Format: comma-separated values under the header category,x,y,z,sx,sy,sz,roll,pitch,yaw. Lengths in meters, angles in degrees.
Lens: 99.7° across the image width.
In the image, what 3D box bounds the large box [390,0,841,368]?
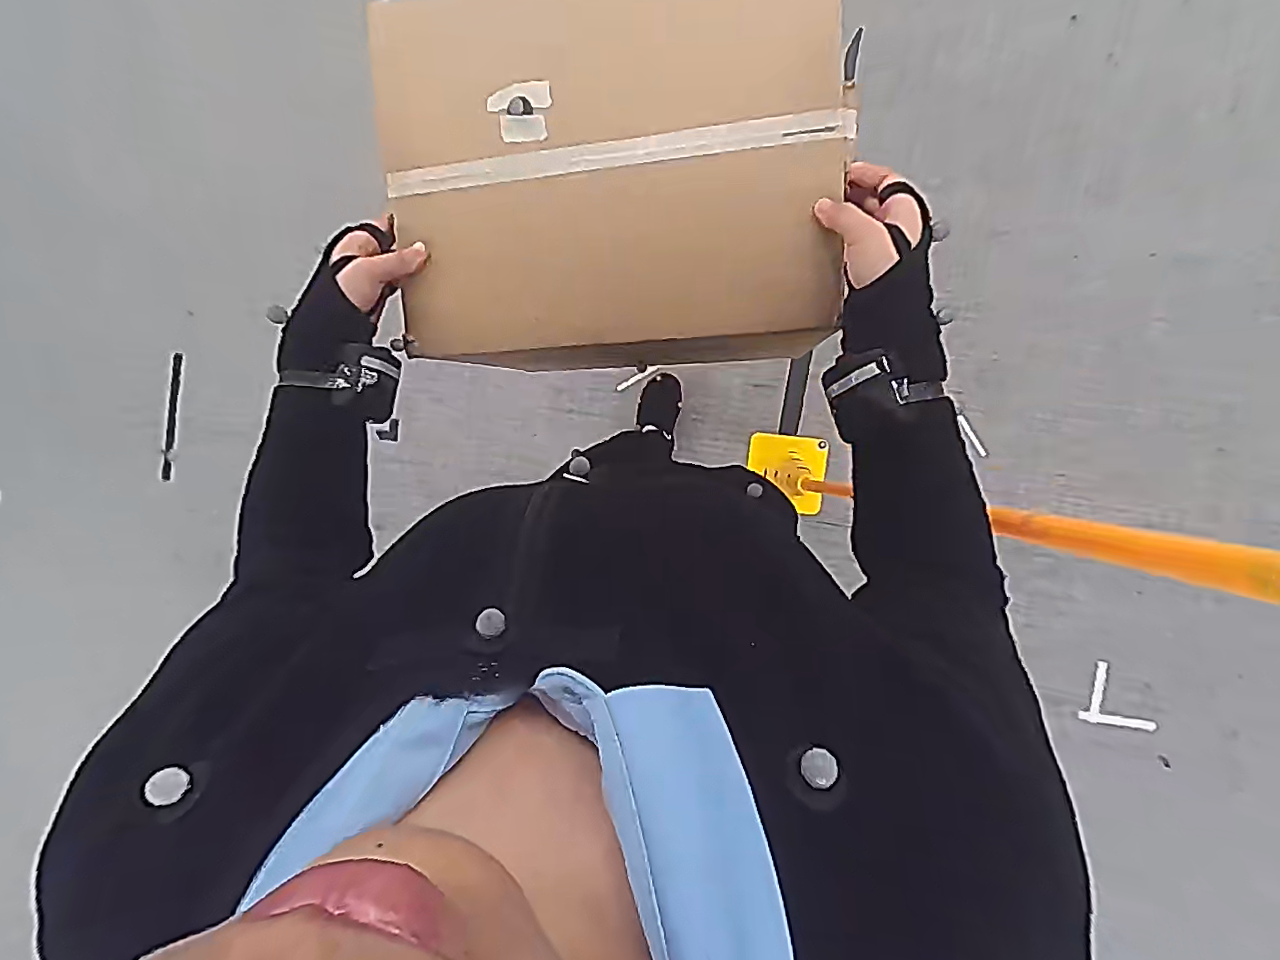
category,x,y,z,sx,sy,sz,roll,pitch,yaw
large box,-0.001,-0.306,0.626,0.408,0.320,0.320,-1,97,11
